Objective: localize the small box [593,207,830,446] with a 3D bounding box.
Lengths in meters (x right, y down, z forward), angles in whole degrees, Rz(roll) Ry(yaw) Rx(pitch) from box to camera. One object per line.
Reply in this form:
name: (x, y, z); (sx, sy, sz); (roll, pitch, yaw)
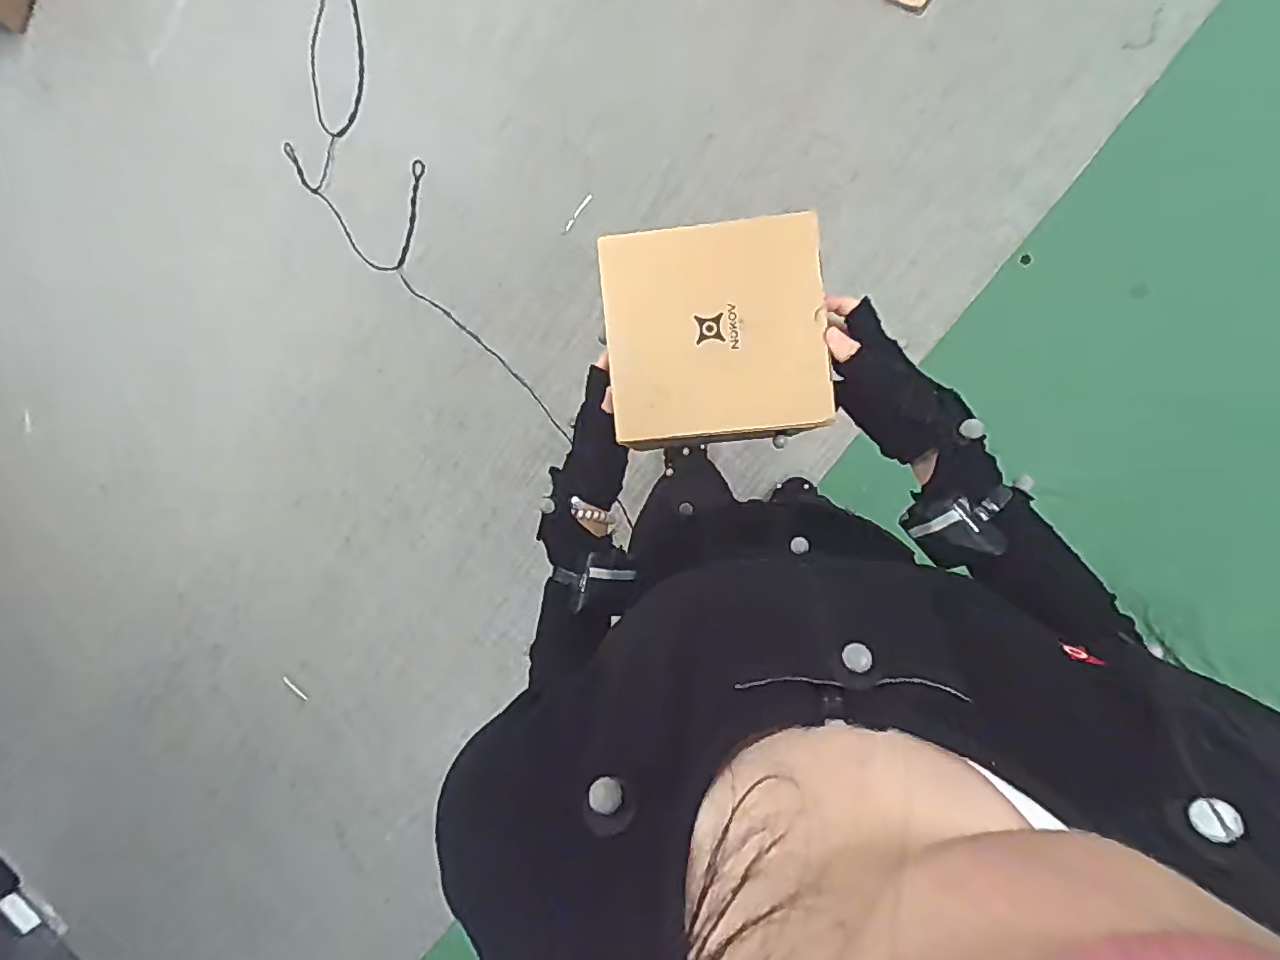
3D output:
small box: (0.061, -0.123, 0.502); (0.179, 0.176, 0.168); (-5, 91, 3)
